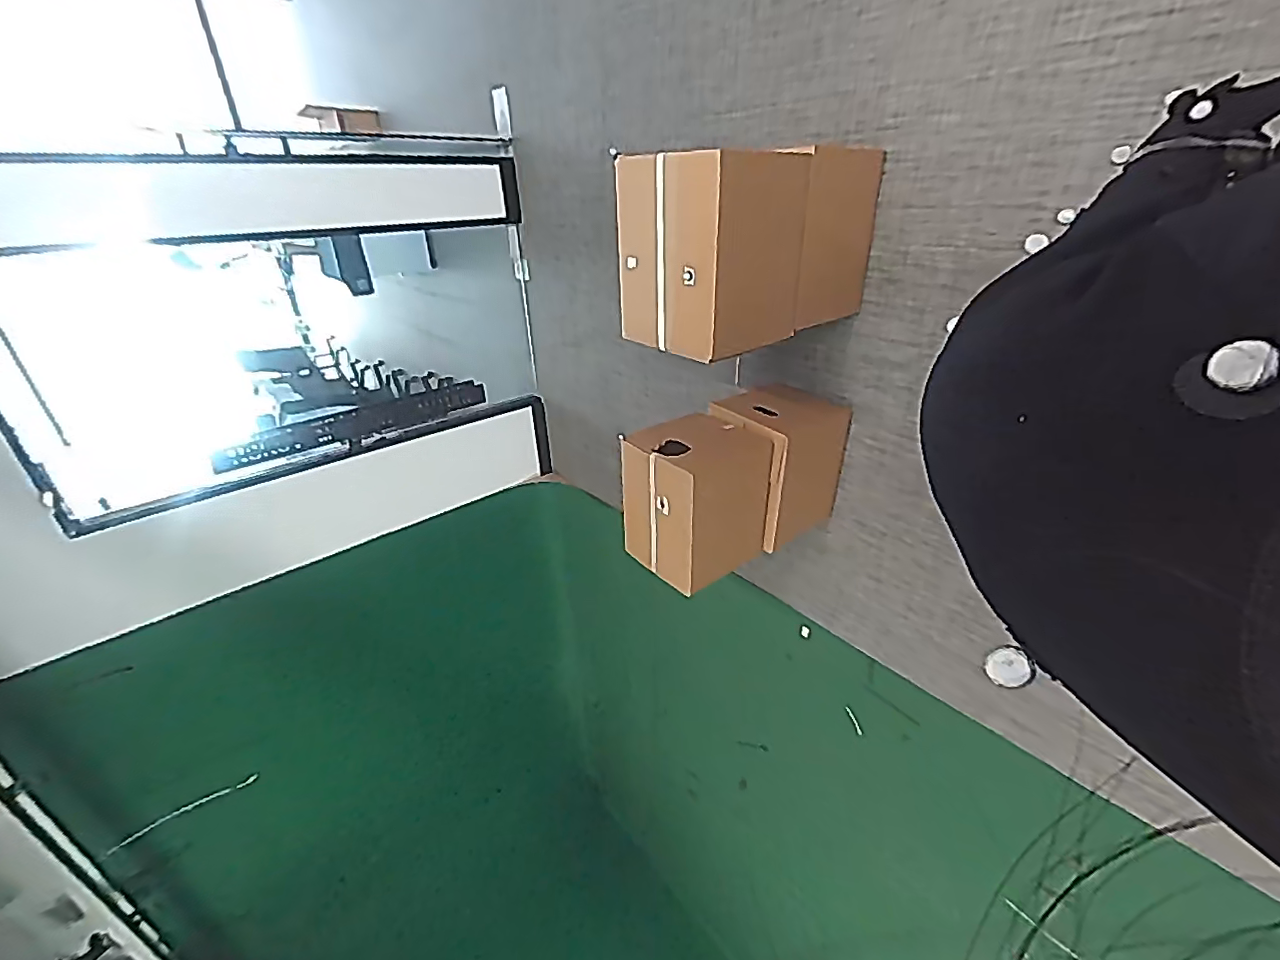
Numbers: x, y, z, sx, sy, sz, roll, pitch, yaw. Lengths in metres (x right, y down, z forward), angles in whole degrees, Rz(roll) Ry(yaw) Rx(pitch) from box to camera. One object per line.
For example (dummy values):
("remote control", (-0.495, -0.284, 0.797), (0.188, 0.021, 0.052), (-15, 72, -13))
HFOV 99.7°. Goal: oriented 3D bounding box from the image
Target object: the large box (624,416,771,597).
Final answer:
("large box", (0.164, 0.064, 1.627), (0.320, 0.320, 0.408), (32, 131, 45))
